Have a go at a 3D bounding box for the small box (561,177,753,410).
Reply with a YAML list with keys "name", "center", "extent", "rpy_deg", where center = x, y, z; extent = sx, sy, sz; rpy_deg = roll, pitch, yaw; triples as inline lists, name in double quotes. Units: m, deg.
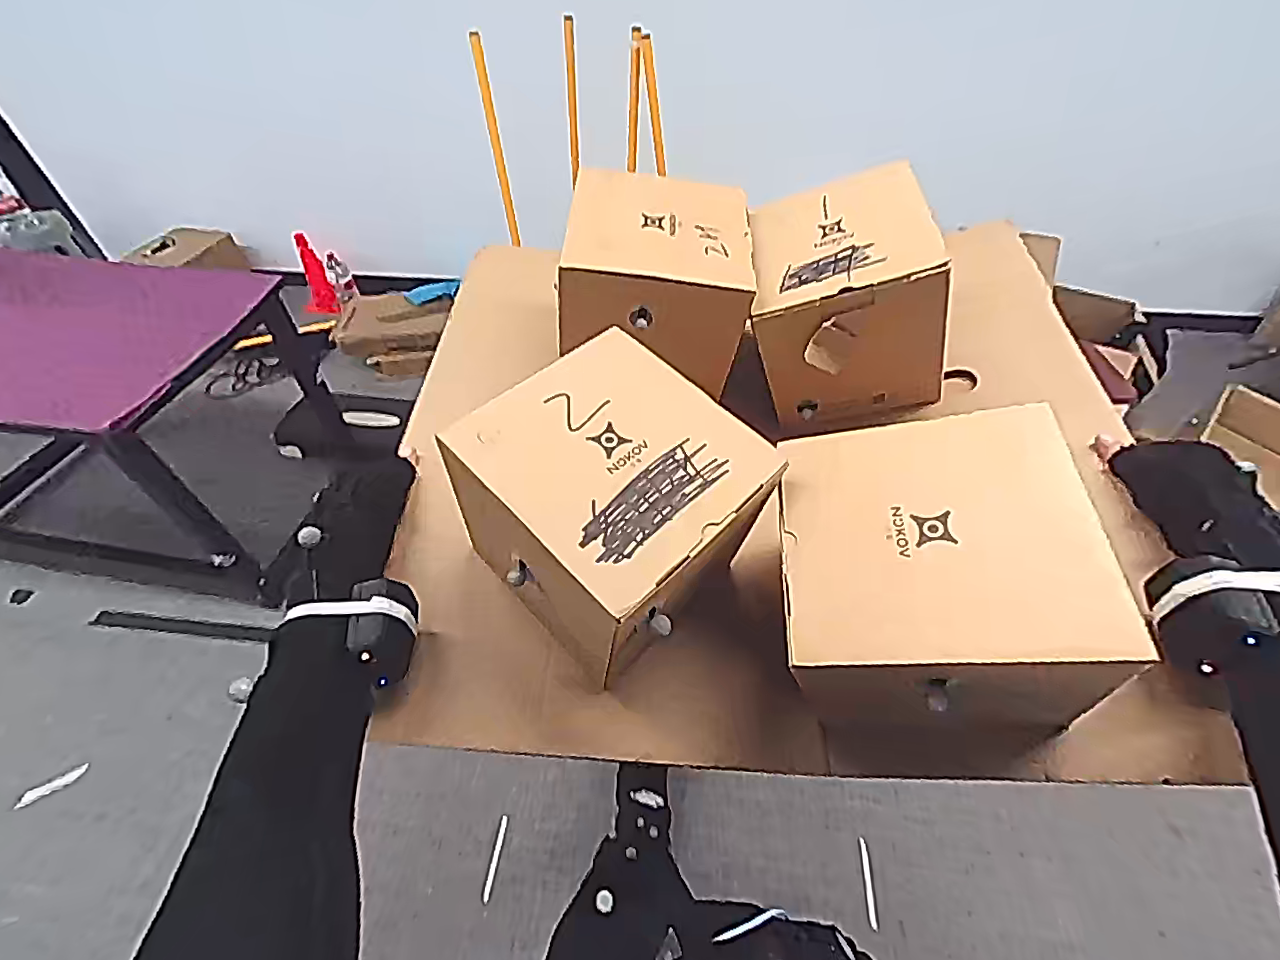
- name: "small box"
  center: [0.013, -0.194, 0.587]
  extent: [0.179, 0.176, 0.168]
  rpy_deg: [7, 56, -4]
